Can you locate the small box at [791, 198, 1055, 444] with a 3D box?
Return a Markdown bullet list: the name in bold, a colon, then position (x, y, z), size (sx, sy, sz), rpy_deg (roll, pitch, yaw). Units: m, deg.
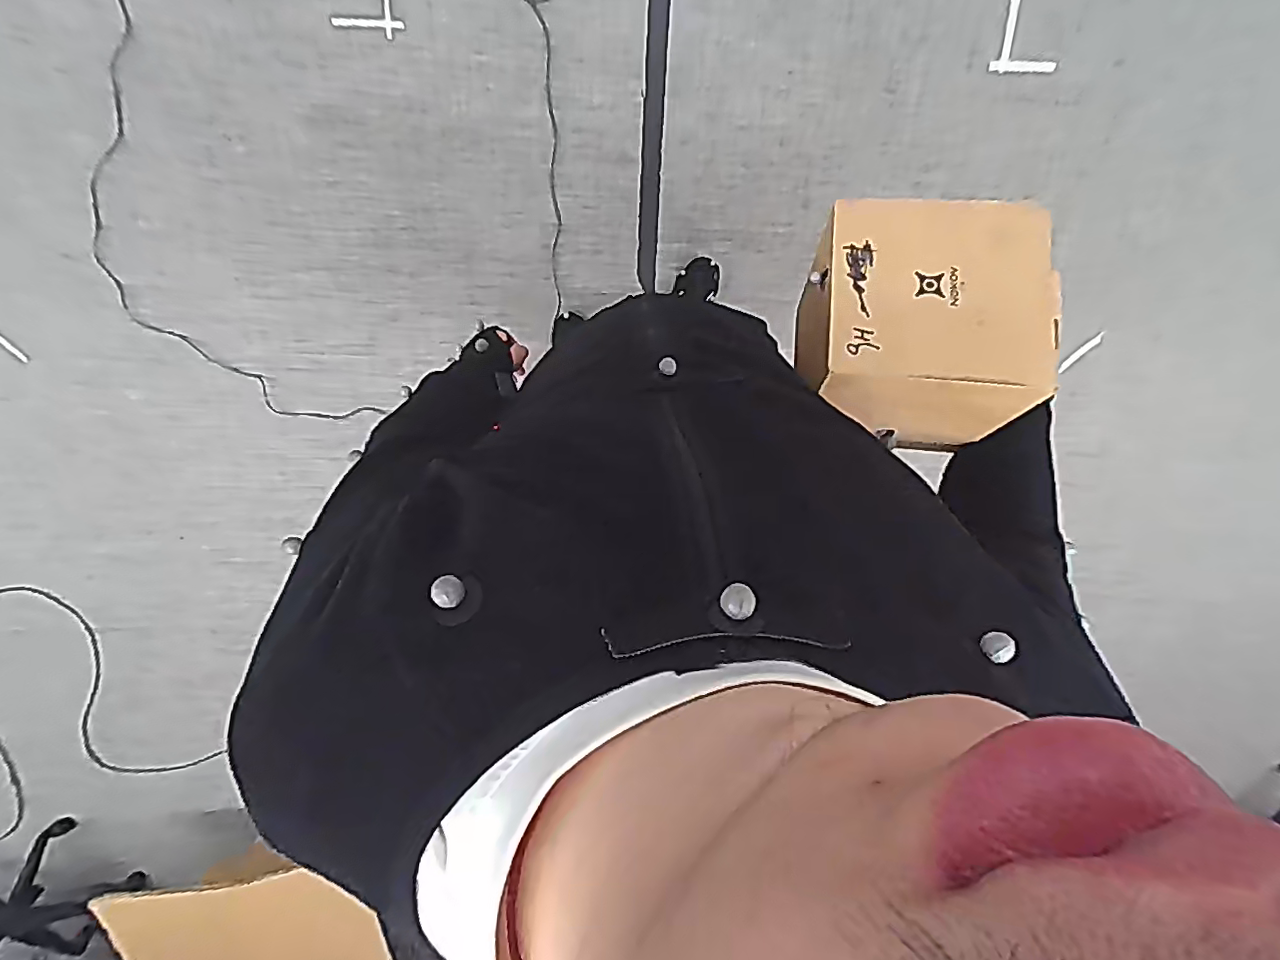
- **small box**: position (0.258, -0.142, 0.530), size (0.179, 0.176, 0.168), rpy_deg (6, 75, 6)
